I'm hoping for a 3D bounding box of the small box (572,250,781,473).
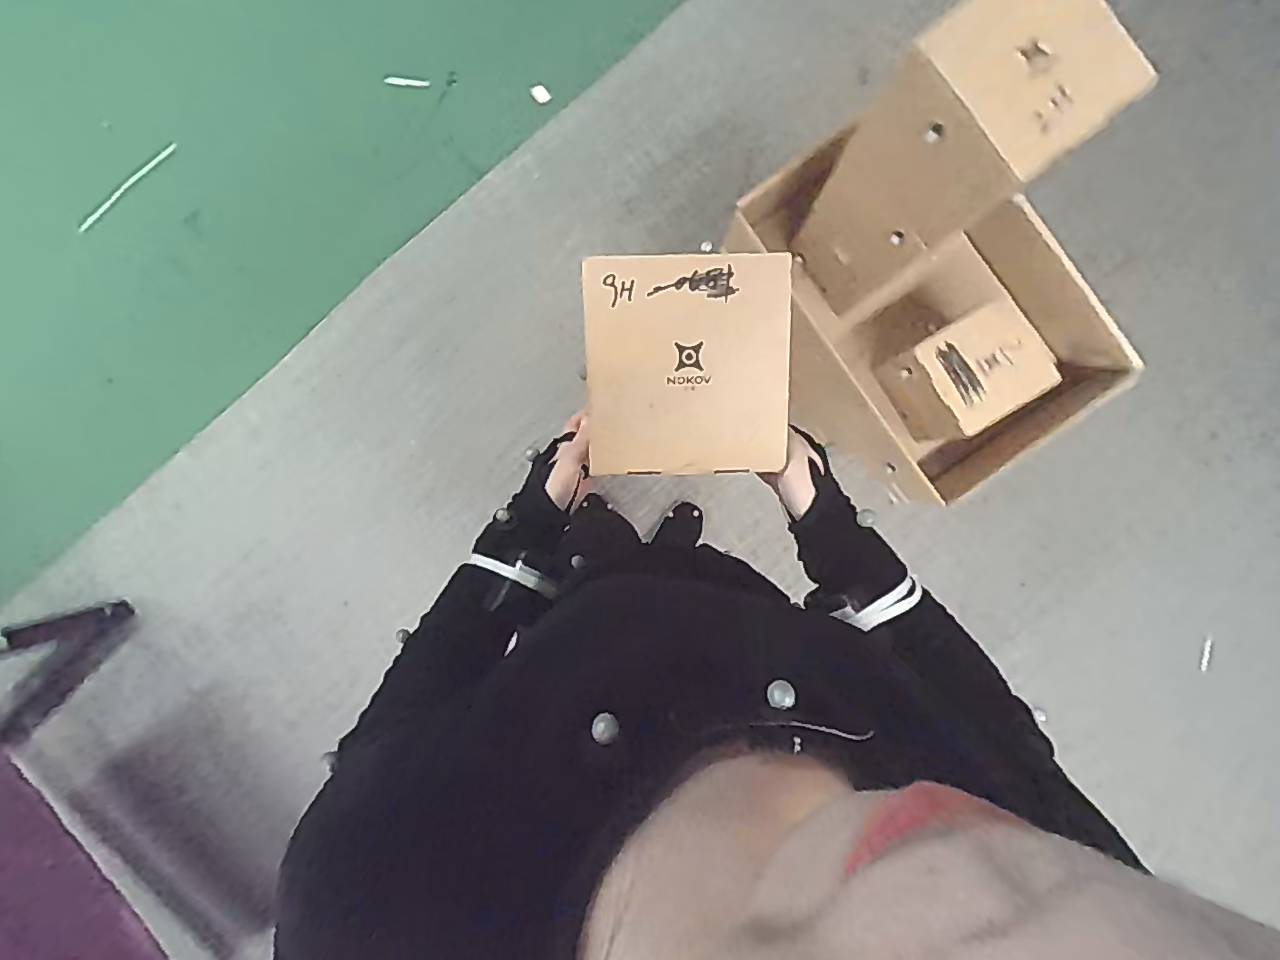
[{"bbox_3d":[0.028,-0.110,0.514,0.168,0.176,0.179,-2,102,-2],"label":"small box"}]

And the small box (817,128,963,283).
[{"bbox_3d":[0.384,-0.417,0.770,0.168,0.176,0.179,-36,92,1],"label":"small box"}]

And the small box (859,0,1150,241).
[{"bbox_3d":[0.382,-0.410,0.605,0.168,0.176,0.179,-37,92,2],"label":"small box"}]
